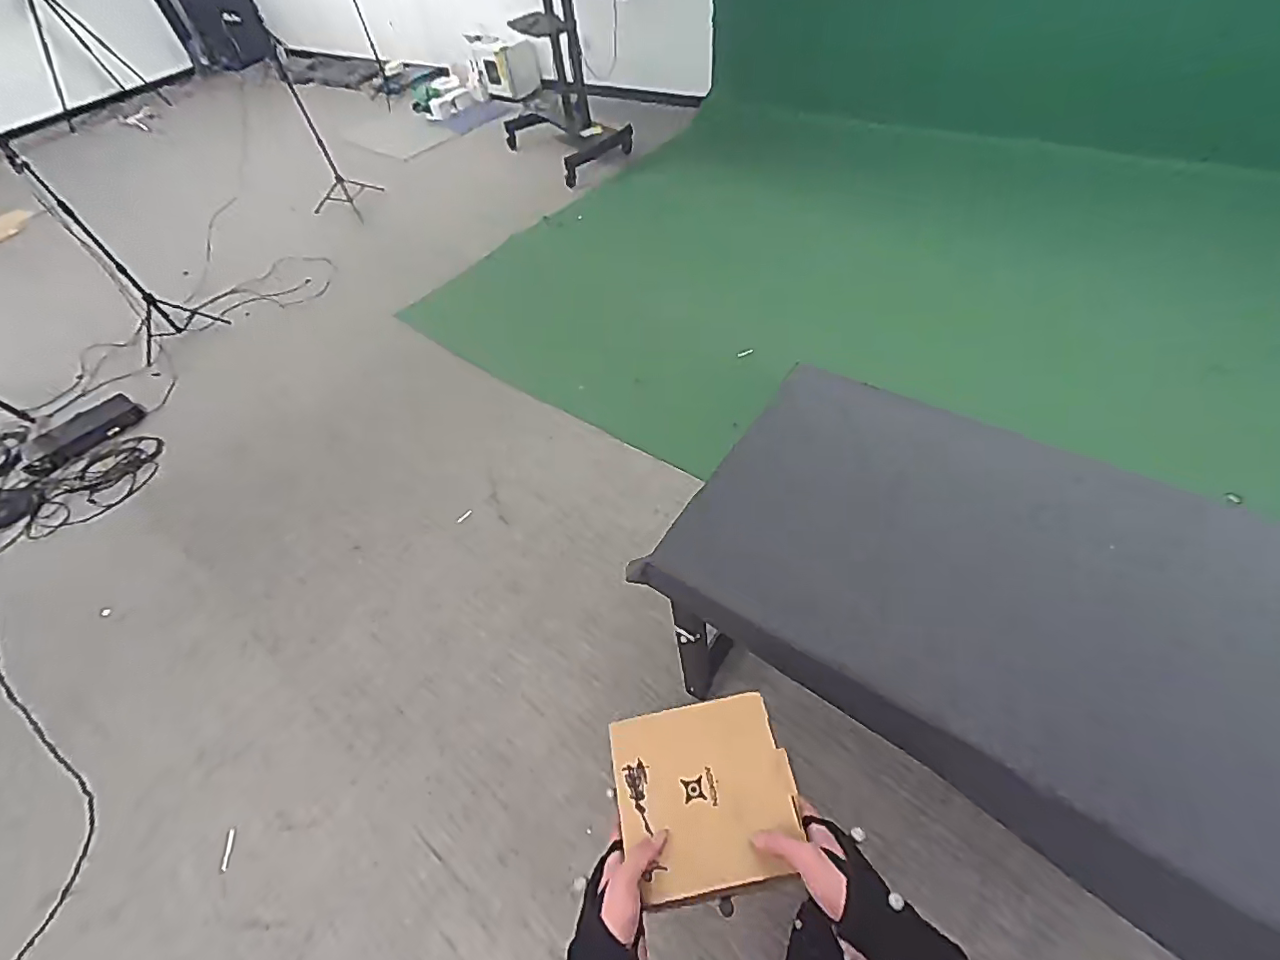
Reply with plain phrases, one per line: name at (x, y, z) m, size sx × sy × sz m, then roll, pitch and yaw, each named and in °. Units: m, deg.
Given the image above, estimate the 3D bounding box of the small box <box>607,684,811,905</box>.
small box at (0.068, 0.351, 0.602) m, size 0.179 × 0.176 × 0.168 m, roll -11°, pitch 48°, yaw -1°
